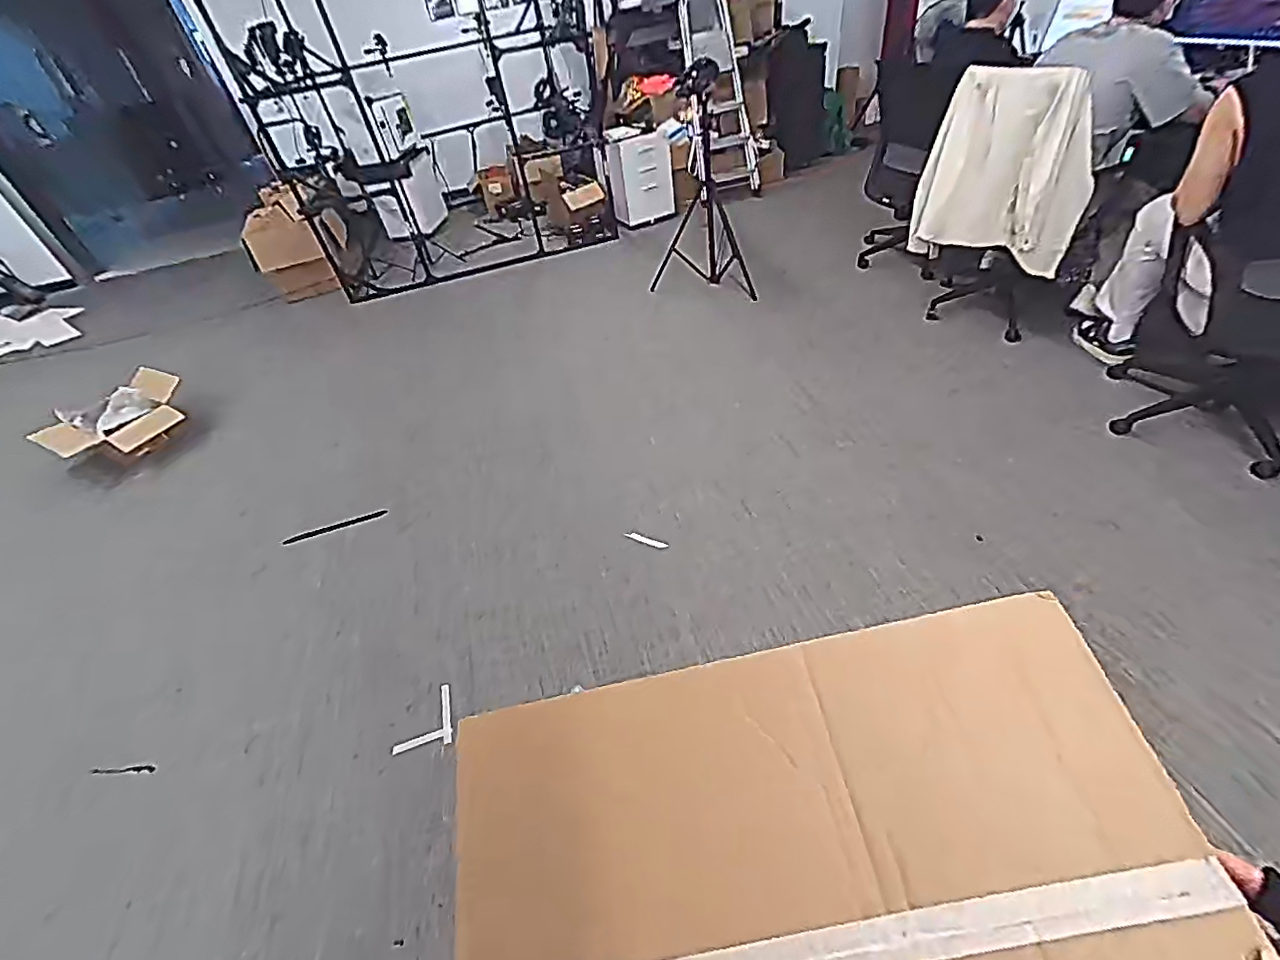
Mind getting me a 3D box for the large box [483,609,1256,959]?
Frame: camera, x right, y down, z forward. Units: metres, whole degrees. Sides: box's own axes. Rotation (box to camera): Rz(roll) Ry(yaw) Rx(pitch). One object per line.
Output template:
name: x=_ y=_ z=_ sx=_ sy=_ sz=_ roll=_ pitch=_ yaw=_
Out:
large box: x=0.132 y=0.337 z=0.418 sx=0.408 sy=0.320 sz=0.320 roll=-14 pitch=59 yaw=3
